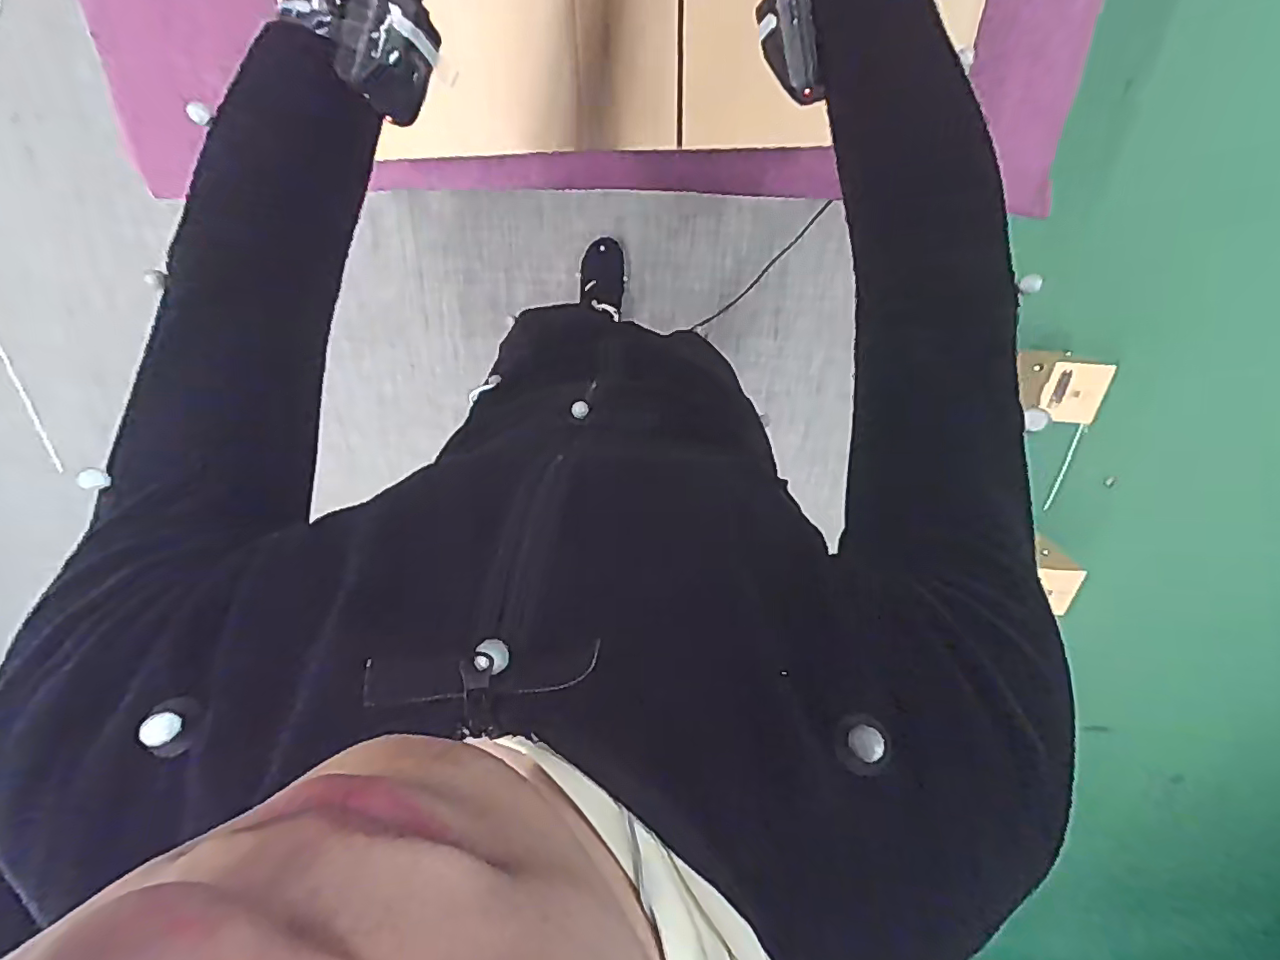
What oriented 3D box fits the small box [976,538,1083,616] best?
[{"bbox_3d":[1.165,0.288,1.637,0.179,0.176,0.168,4,117,-4],"label":"small box"}]
